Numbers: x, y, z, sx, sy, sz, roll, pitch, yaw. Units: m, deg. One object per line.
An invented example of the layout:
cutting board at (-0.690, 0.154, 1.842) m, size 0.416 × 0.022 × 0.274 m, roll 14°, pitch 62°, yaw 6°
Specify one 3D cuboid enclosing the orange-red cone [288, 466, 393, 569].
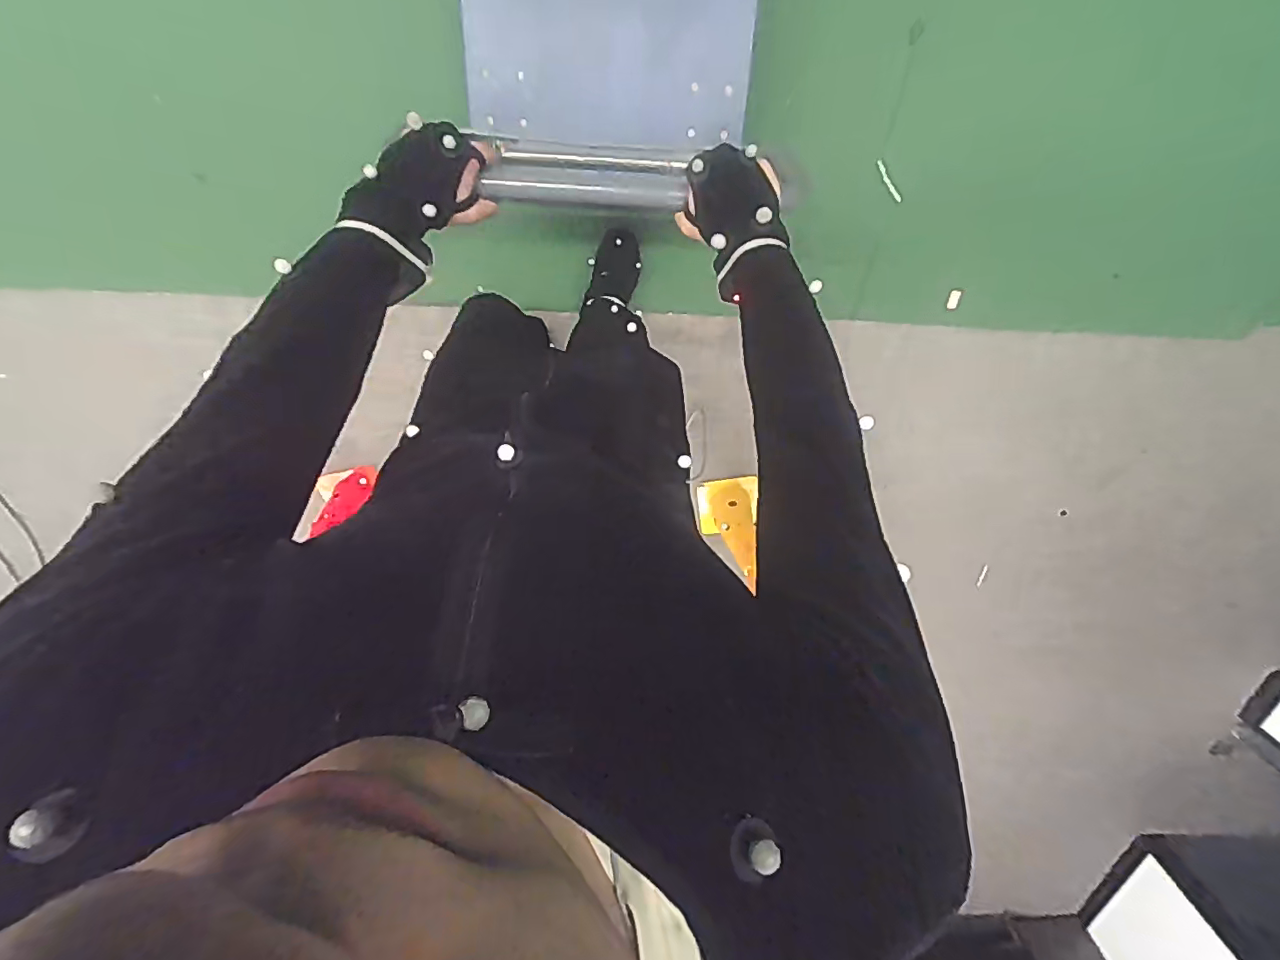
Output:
orange-red cone at (-0.893, 0.133, 1.542) m, size 0.199 × 0.360 × 0.198 m, roll -11°, pitch 118°, yaw 4°
